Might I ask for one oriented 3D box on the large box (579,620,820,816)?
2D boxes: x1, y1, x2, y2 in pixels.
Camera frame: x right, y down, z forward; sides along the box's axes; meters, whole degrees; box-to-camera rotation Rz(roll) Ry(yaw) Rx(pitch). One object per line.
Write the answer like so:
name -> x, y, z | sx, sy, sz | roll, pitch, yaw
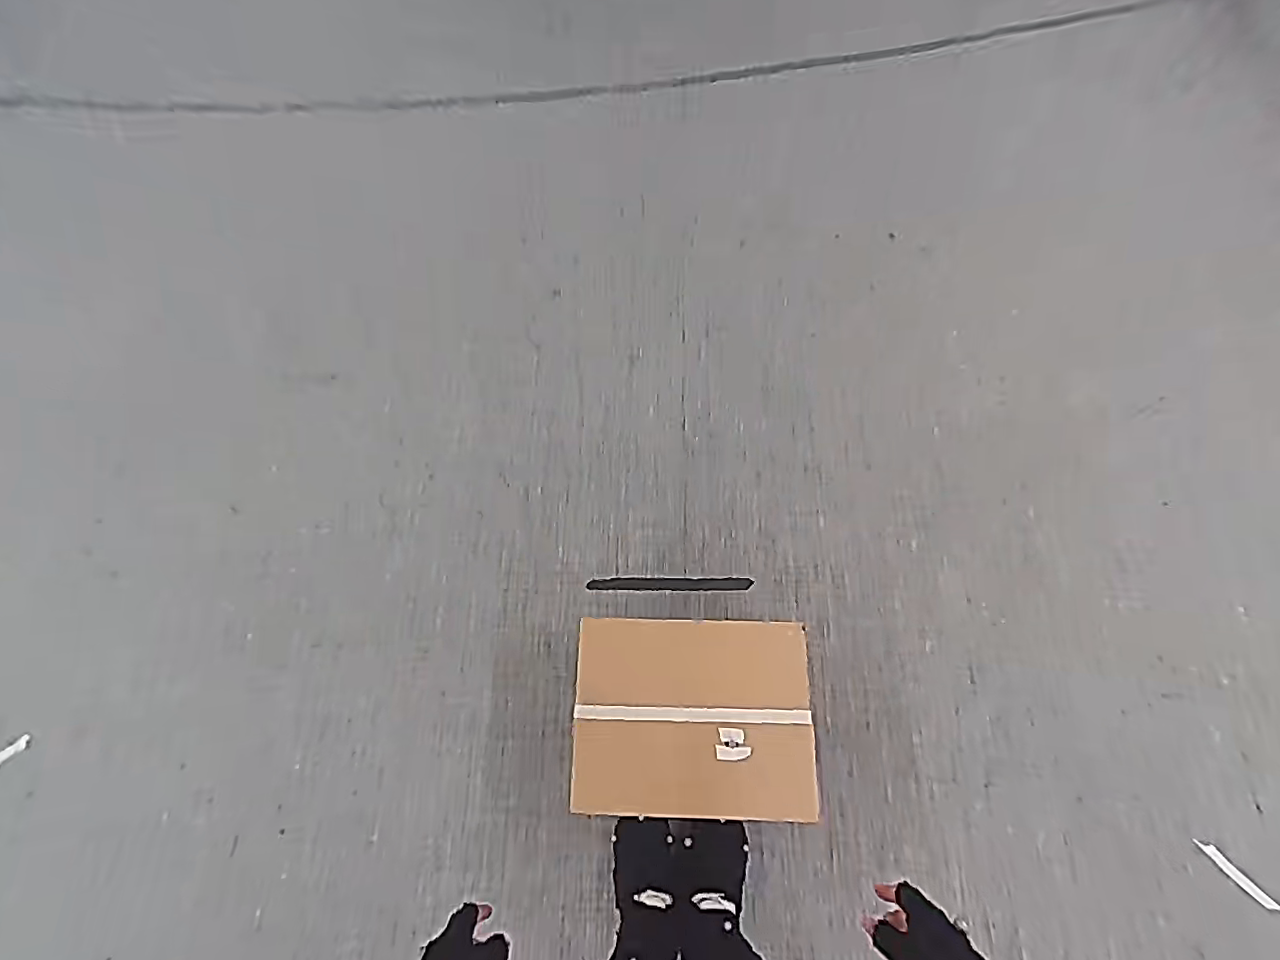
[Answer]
large box -> 0.100, 0.456, 1.076 | 0.408, 0.320, 0.320 | 1, 70, 2
